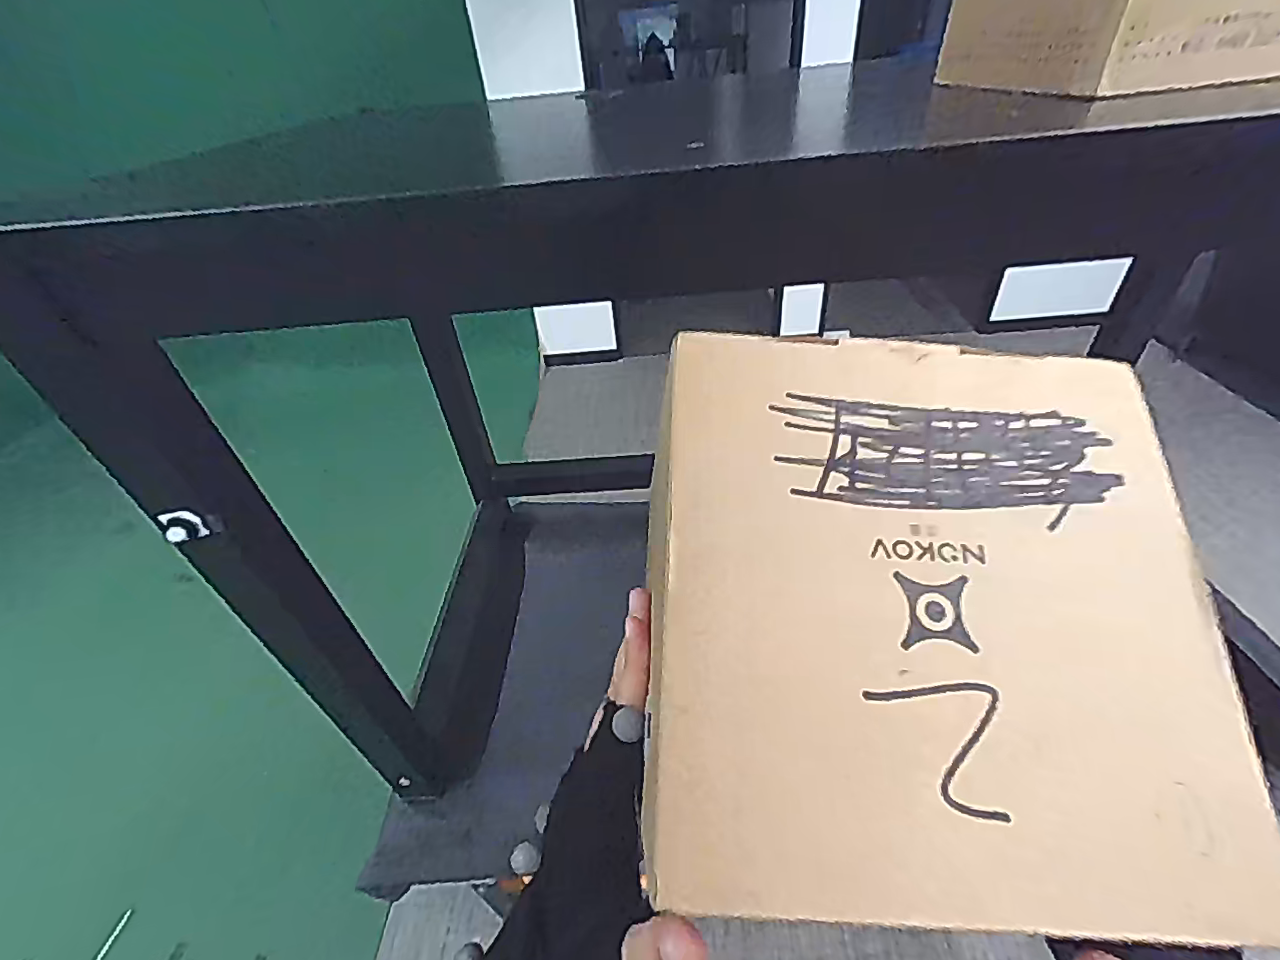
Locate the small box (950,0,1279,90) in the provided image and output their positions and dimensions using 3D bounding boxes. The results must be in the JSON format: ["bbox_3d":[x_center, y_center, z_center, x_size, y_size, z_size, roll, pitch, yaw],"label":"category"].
[{"bbox_3d":[0.317,-0.335,0.309,0.168,0.176,0.179,-6,38,0],"label":"small box"}]
